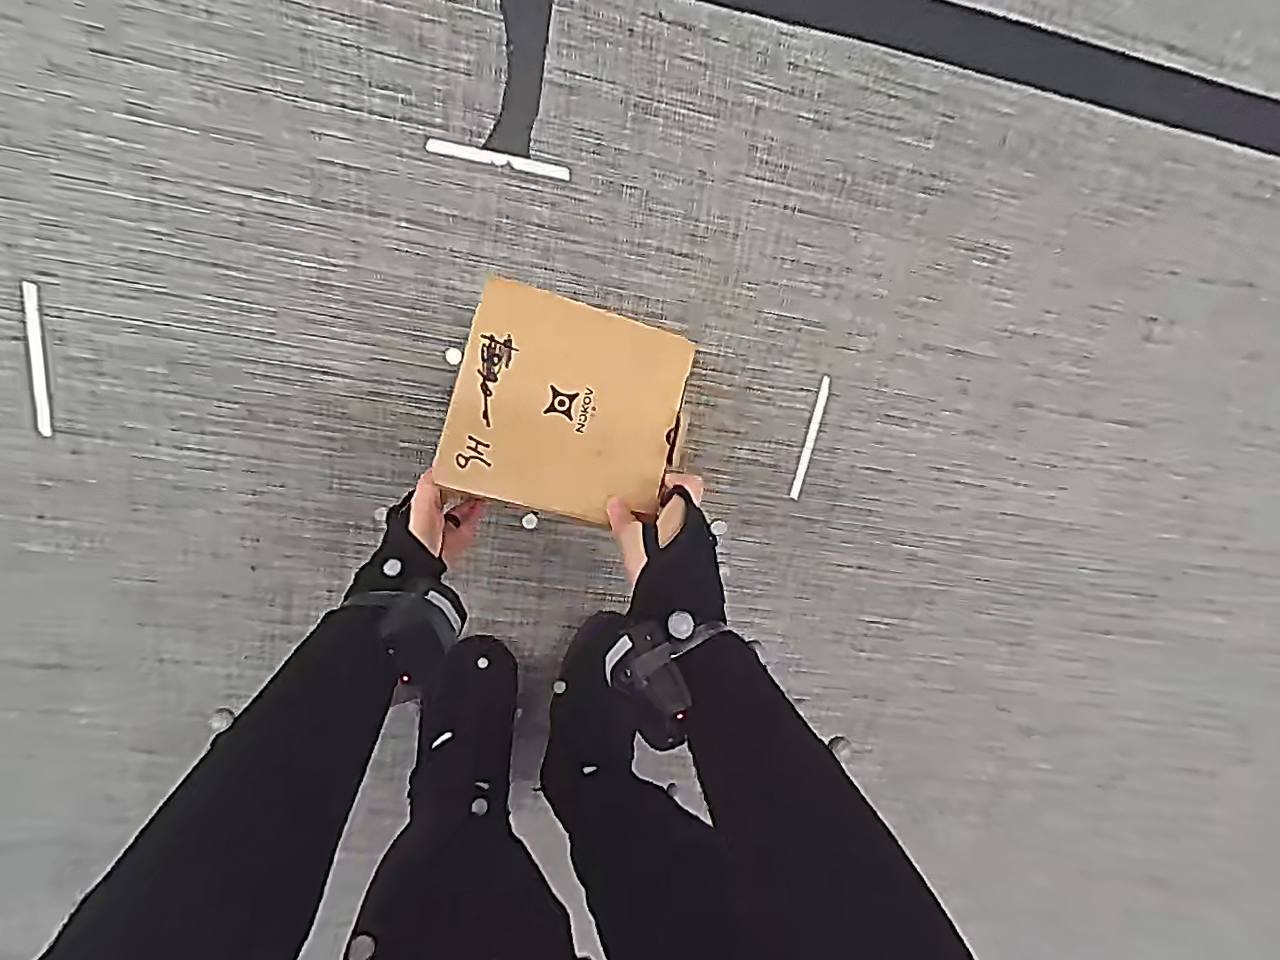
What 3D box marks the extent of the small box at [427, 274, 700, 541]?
[{"bbox_3d":[-0.073,-0.051,0.489,0.179,0.176,0.168,16,84,-15],"label":"small box"}]
